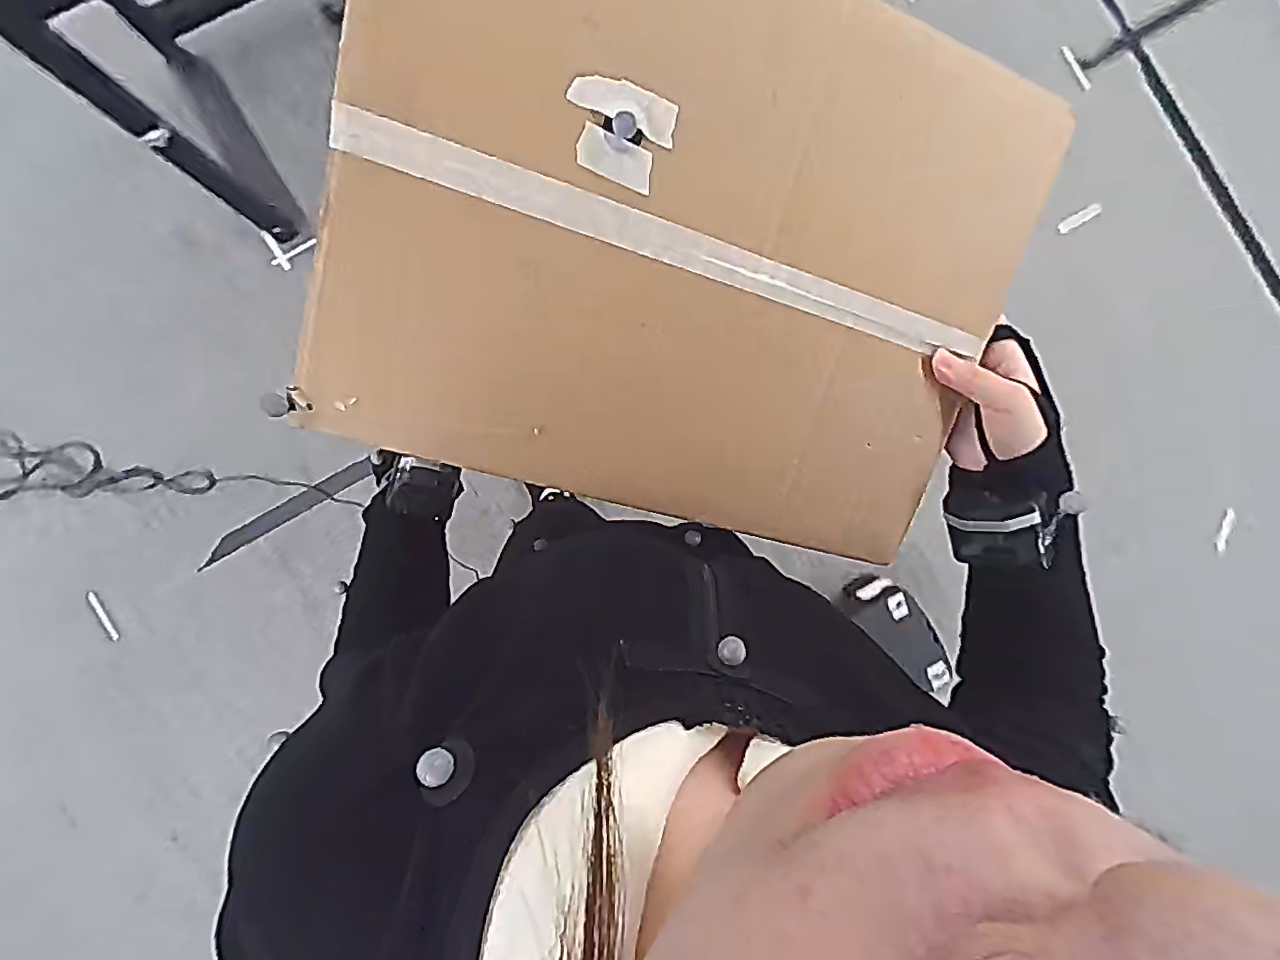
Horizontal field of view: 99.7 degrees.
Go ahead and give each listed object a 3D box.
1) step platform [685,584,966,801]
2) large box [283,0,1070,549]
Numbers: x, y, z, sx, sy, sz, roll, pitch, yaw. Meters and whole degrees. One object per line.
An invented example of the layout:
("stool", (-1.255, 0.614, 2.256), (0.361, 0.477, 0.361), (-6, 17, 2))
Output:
("step platform", (0.471, 0.534, 1.405), (0.684, 0.204, 0.286), (-24, 90, -4))
("large box", (0.006, -0.172, 0.451), (0.408, 0.320, 0.320), (13, 102, -13))
